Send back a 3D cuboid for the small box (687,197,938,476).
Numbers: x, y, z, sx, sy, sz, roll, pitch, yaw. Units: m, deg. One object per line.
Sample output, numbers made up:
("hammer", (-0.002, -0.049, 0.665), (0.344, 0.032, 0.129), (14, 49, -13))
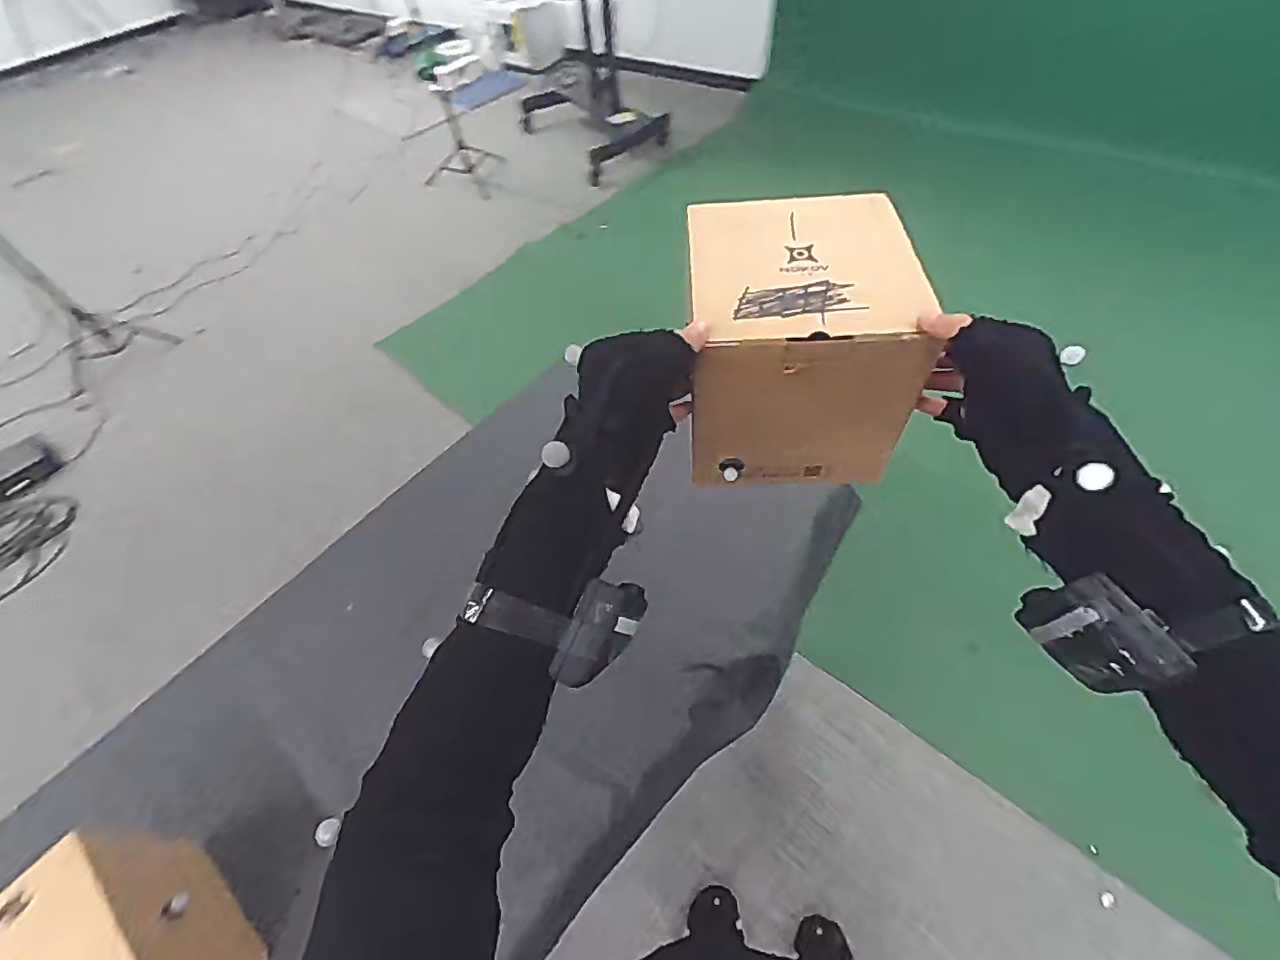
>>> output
("small box", (0.126, -0.115, 0.471), (0.168, 0.176, 0.179), (-1, 54, 5))
